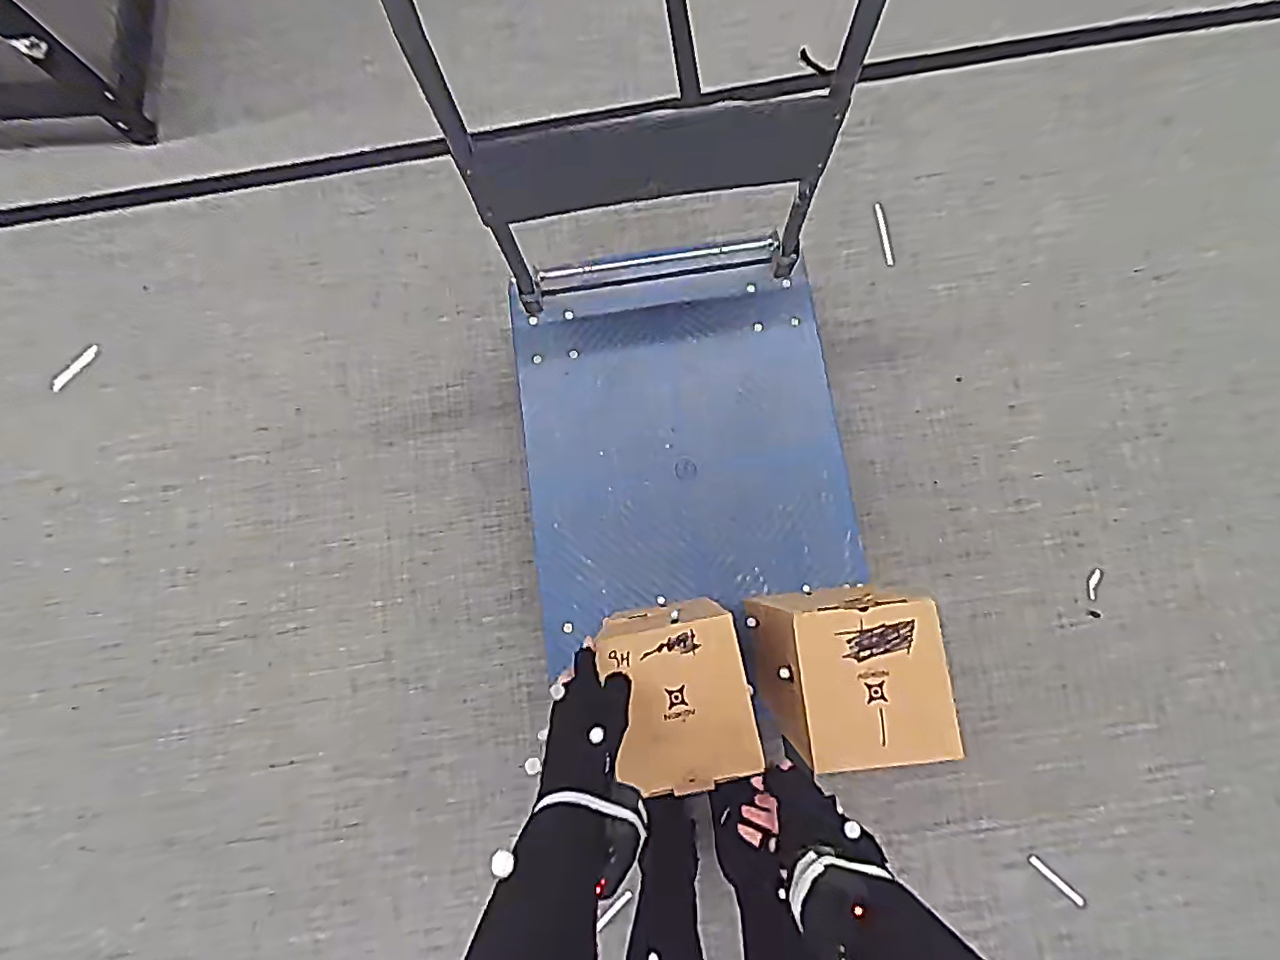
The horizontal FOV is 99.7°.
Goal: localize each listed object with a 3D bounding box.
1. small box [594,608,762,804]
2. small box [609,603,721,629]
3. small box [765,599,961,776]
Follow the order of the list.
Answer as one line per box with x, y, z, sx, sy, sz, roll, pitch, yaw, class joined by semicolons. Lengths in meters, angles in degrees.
0.044;0.270;0.683;0.168;0.176;0.179;-11;81;-1;small box
0.049;0.295;0.846;0.168;0.176;0.179;-9;80;-1;small box
0.263;0.244;0.681;0.168;0.176;0.179;-5;81;0;small box
